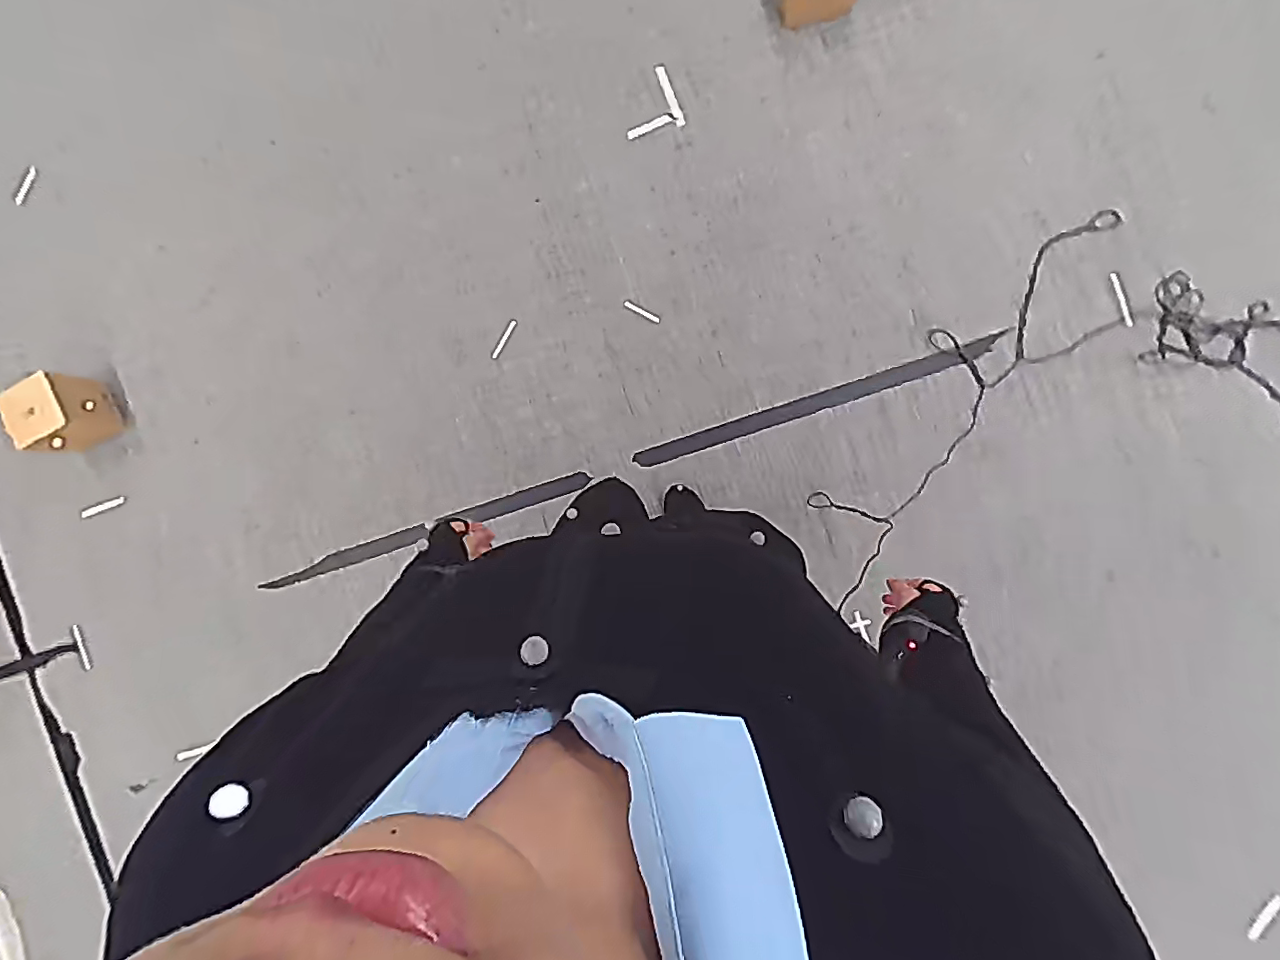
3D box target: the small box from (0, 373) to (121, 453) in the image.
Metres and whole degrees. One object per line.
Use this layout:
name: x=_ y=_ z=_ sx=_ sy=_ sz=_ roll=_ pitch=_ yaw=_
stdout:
small box: x=-1.673 y=-0.189 z=1.569 sx=0.179 sy=0.176 sz=0.168 roll=-26 pitch=89 yaw=6

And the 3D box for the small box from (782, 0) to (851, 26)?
small box: x=0.445 y=-1.286 z=1.343 sx=0.179 sy=0.176 sz=0.168 roll=-10 pitch=91 yaw=5
